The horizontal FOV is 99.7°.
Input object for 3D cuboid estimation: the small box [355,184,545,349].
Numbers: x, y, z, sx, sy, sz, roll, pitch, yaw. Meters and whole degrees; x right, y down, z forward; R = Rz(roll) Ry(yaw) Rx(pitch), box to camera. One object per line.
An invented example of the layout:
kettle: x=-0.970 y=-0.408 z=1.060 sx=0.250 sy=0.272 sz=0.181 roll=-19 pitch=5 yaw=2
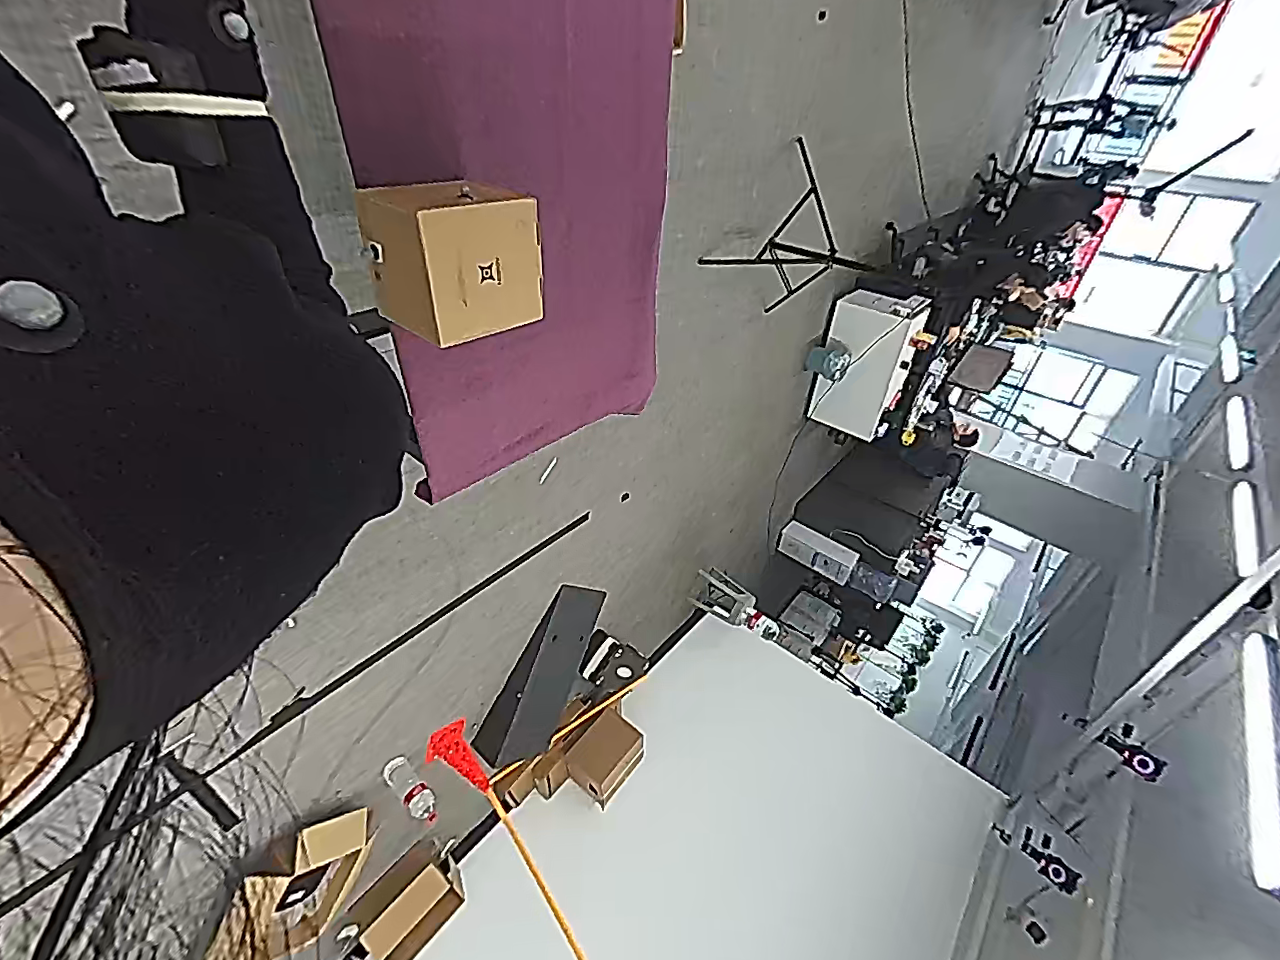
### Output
small box: x=-0.255 y=-0.305 z=0.751 sx=0.179 sy=0.176 sz=0.168 roll=-32 pitch=138 yaw=-38
